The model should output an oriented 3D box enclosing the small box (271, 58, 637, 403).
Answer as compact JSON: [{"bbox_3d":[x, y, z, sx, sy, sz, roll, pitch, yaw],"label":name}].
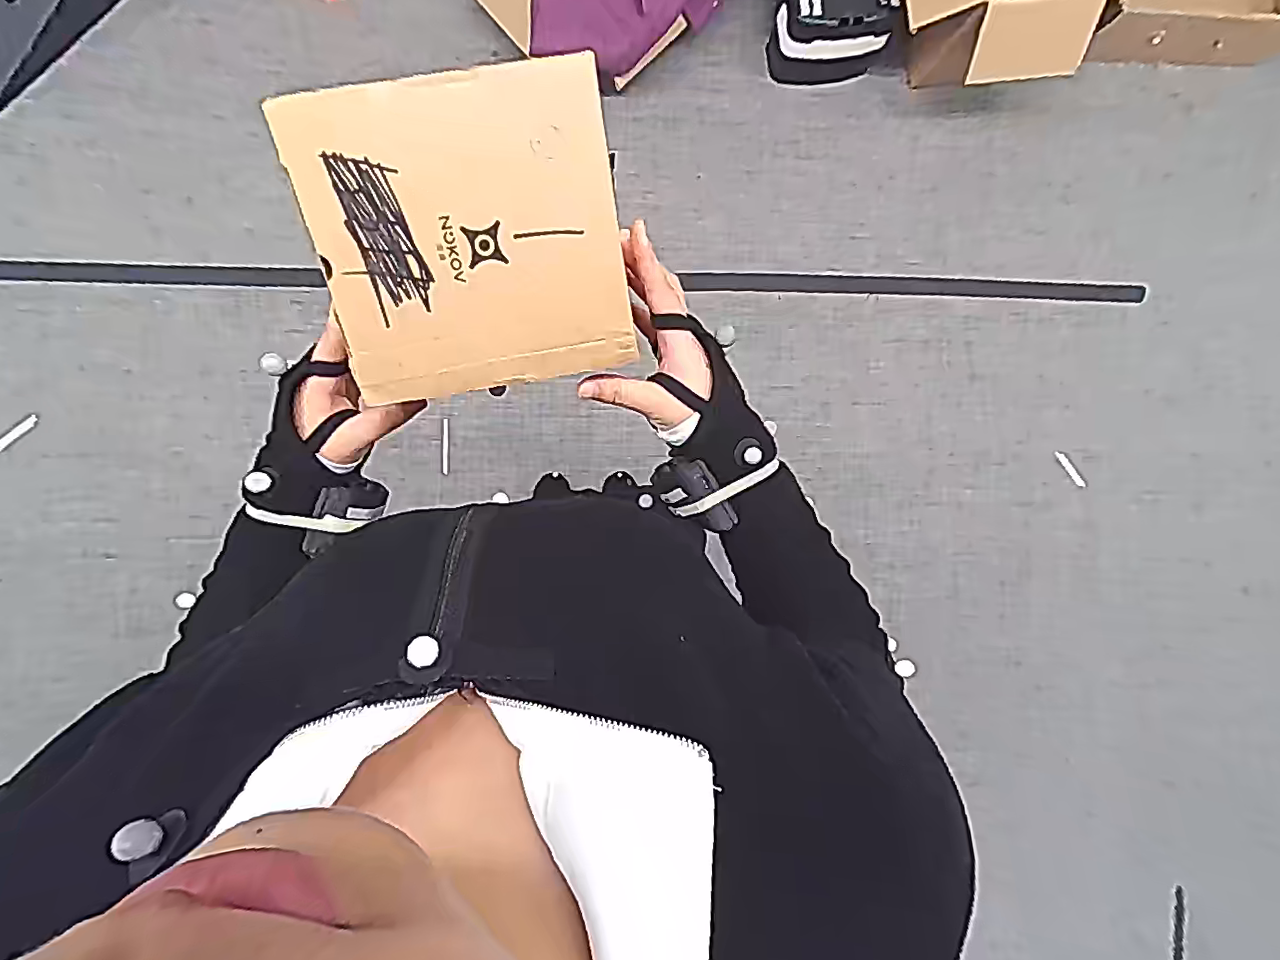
[{"bbox_3d":[-0.103,-0.163,0.383,0.179,0.176,0.168,-9,113,-3],"label":"small box"}]
